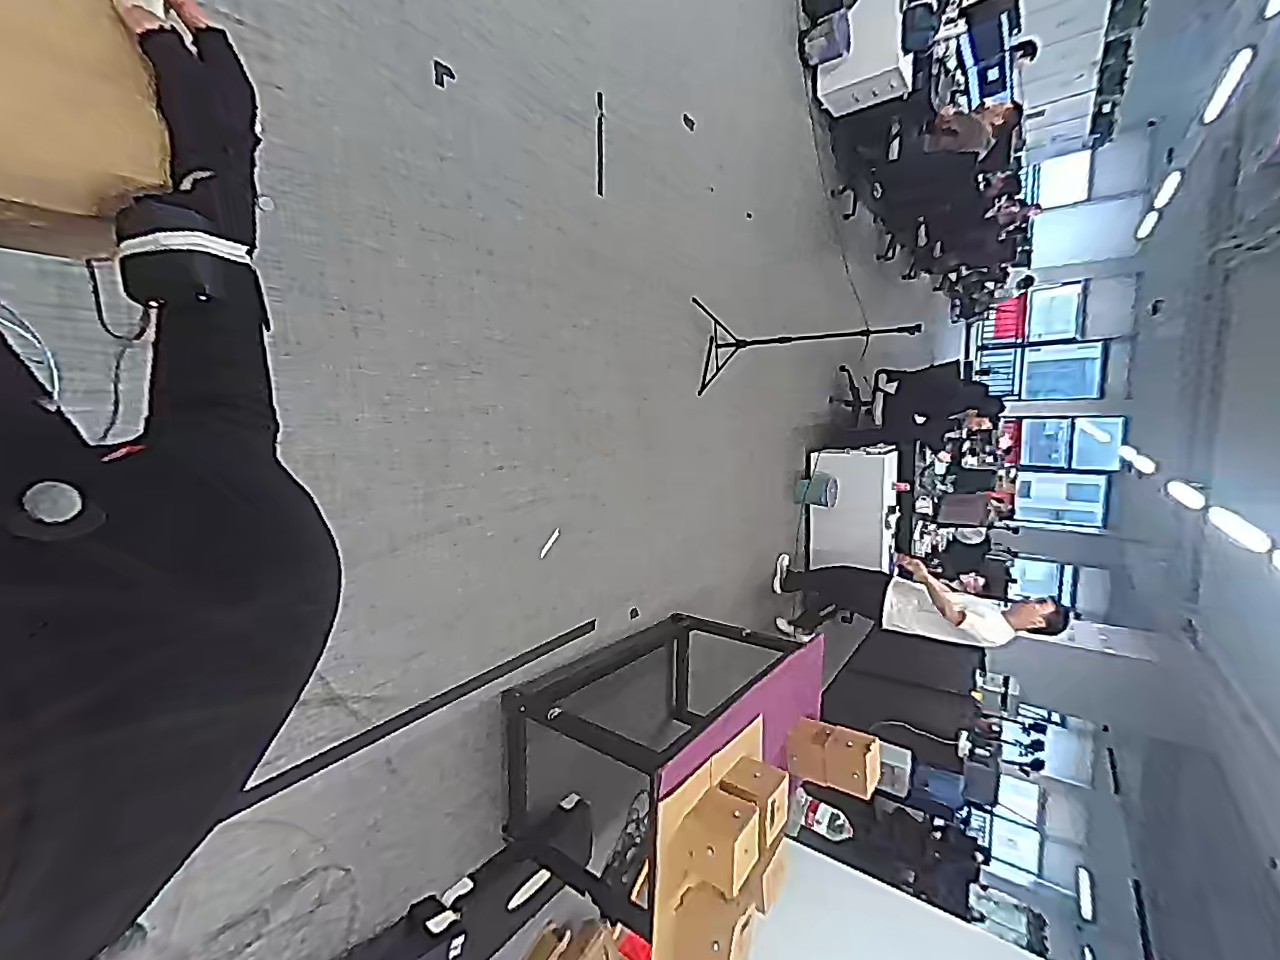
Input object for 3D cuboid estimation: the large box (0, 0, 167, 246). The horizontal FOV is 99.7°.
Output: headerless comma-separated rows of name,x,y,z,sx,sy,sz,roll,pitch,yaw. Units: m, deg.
large box,-0.593,-0.356,0.317,0.408,0.320,0.320,-9,108,-55
